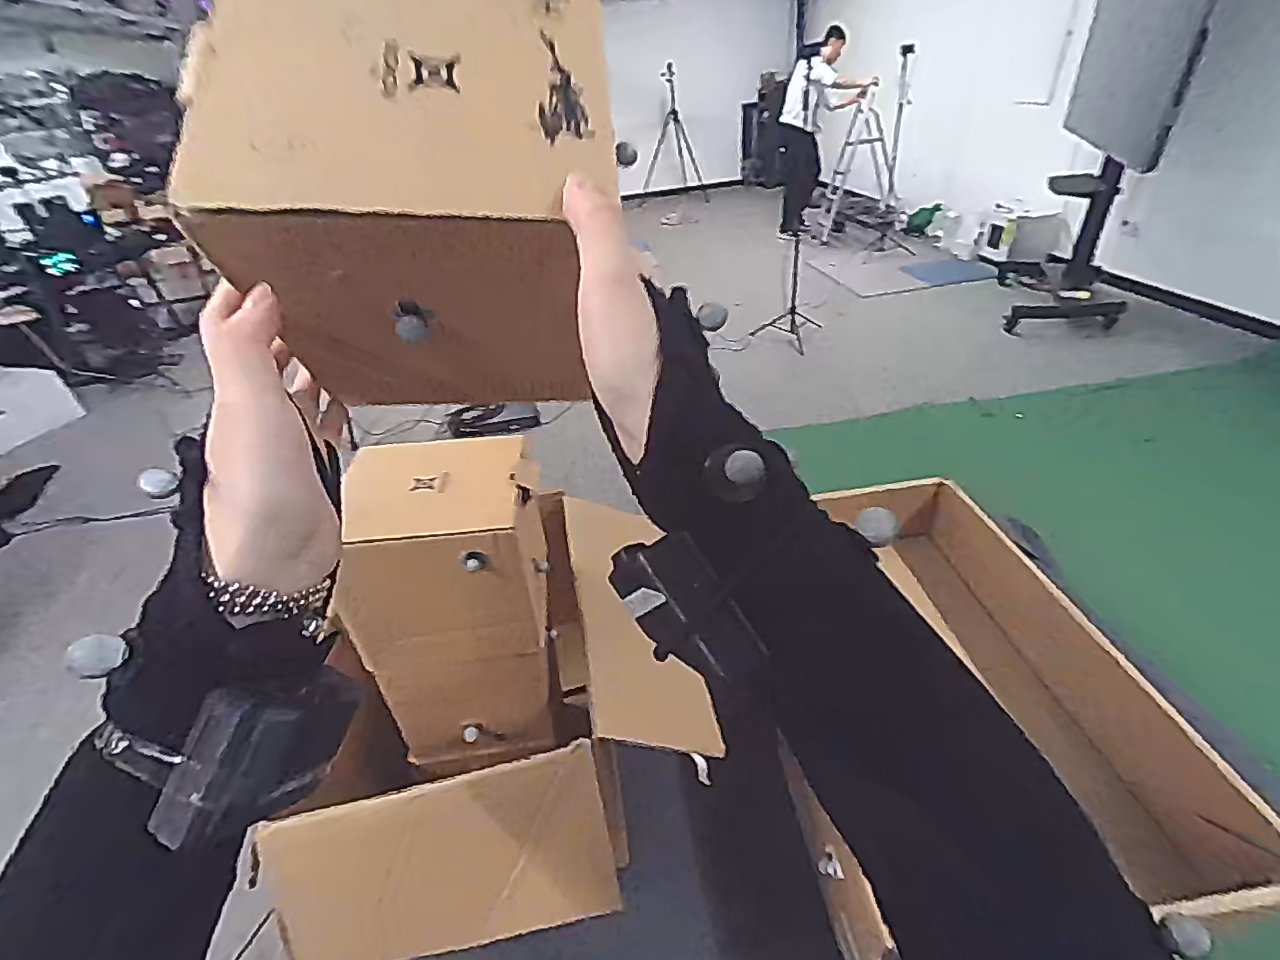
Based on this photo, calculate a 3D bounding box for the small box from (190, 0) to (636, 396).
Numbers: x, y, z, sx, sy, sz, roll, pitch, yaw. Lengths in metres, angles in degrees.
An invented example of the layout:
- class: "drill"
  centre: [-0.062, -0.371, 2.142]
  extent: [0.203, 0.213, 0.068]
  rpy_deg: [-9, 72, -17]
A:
- class: "small box"
  centre: [-0.102, -0.157, 0.315]
  extent: [0.179, 0.176, 0.168]
  rpy_deg: [-3, 74, -8]

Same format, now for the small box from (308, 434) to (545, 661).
- class: "small box"
  centre: [-0.199, 0.069, 0.566]
  extent: [0.179, 0.176, 0.168]
  rpy_deg: [-5, 35, -6]
